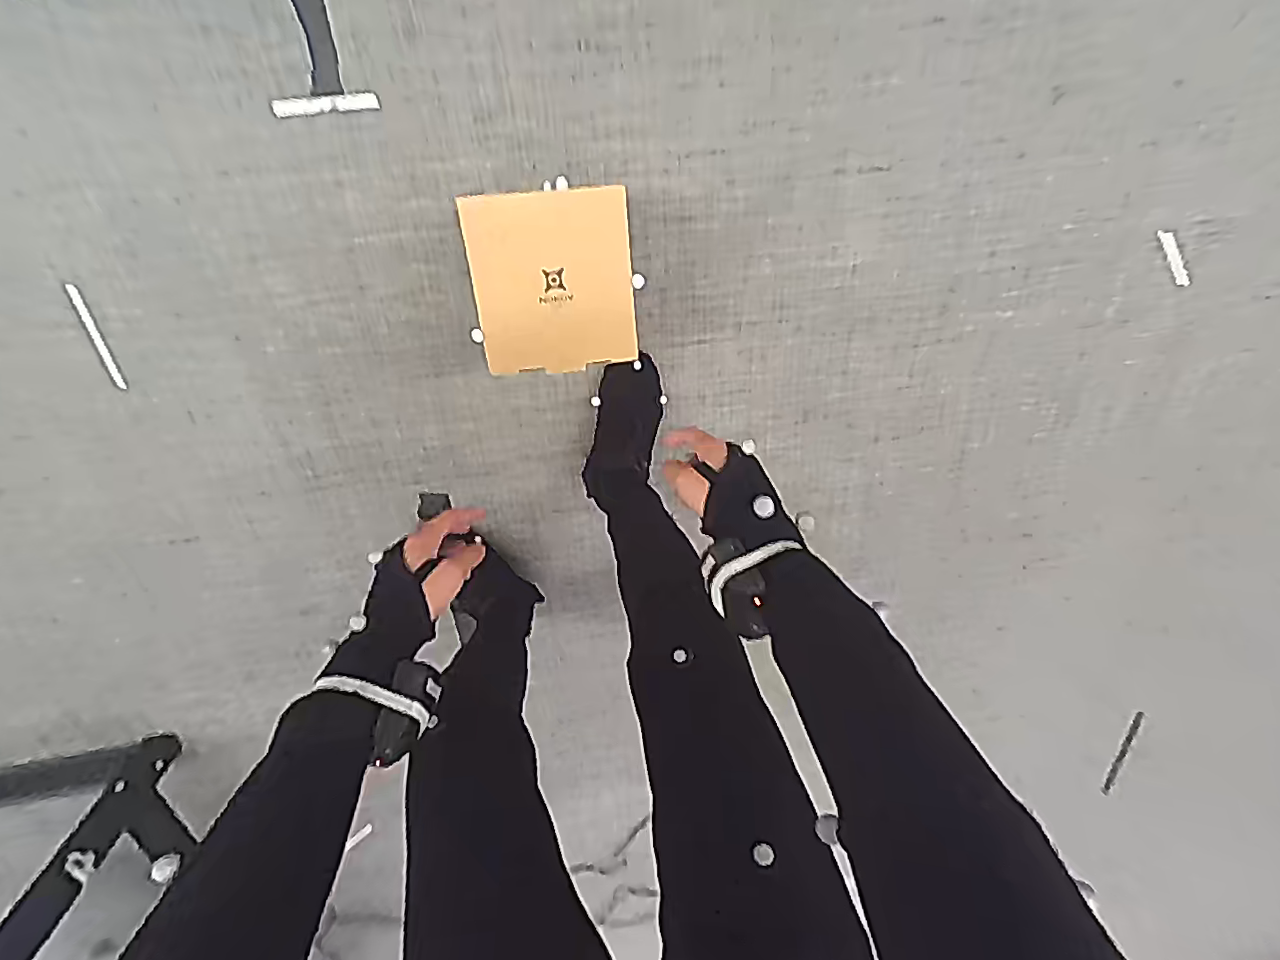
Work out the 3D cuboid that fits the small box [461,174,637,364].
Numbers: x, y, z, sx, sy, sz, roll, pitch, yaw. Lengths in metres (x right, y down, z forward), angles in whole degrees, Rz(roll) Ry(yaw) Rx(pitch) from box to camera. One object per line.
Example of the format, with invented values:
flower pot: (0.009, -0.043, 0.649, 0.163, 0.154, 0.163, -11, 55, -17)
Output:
small box: (-0.101, -0.247, 0.630, 0.168, 0.176, 0.179, -7, 117, -6)
